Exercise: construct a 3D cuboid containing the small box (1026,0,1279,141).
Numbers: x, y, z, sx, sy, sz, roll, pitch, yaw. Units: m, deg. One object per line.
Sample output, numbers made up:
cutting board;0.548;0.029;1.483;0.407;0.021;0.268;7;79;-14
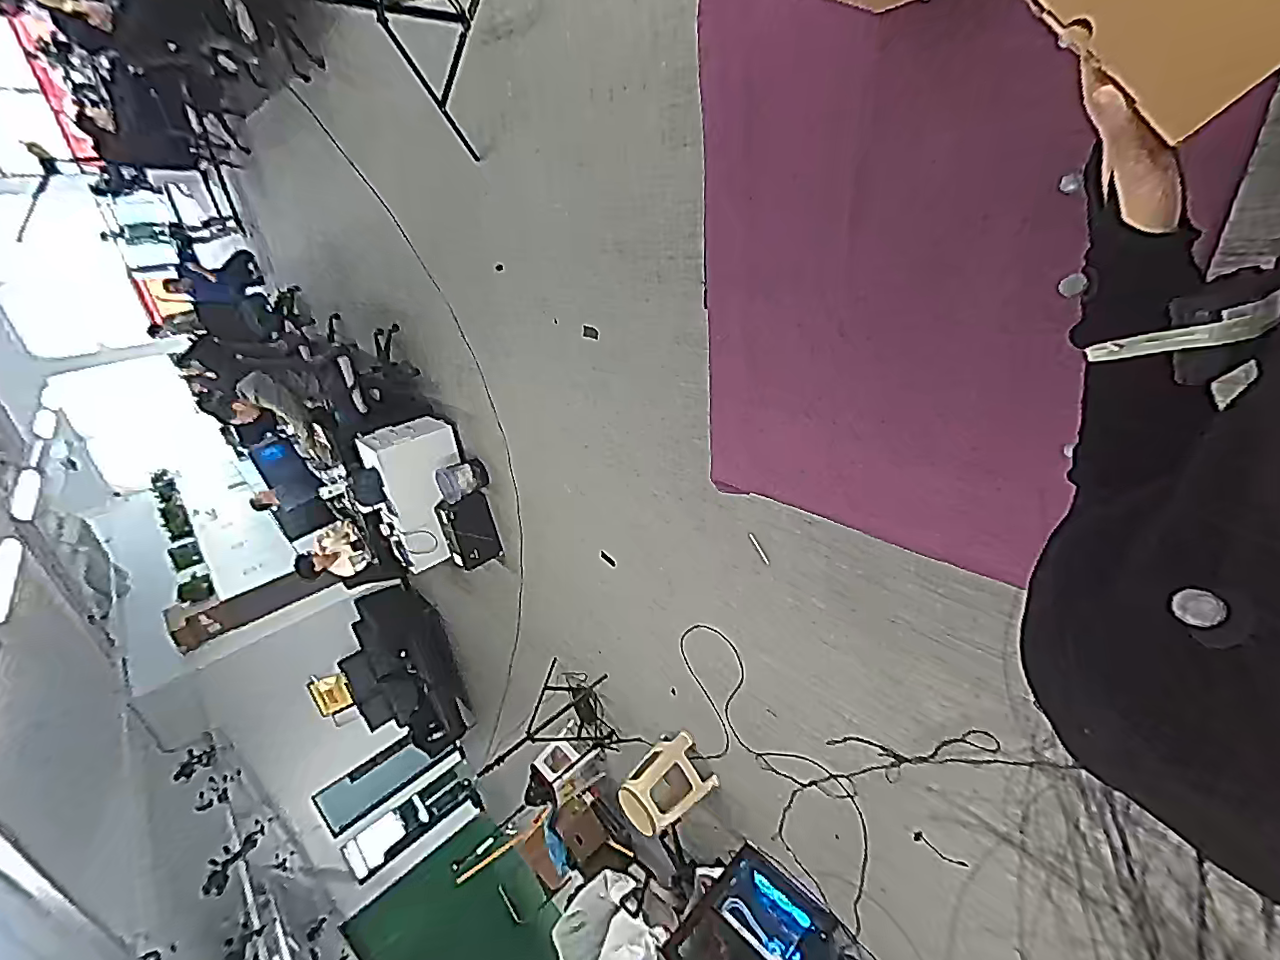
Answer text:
small box;0.321;-0.322;0.278;0.168;0.176;0.179;50;145;3
